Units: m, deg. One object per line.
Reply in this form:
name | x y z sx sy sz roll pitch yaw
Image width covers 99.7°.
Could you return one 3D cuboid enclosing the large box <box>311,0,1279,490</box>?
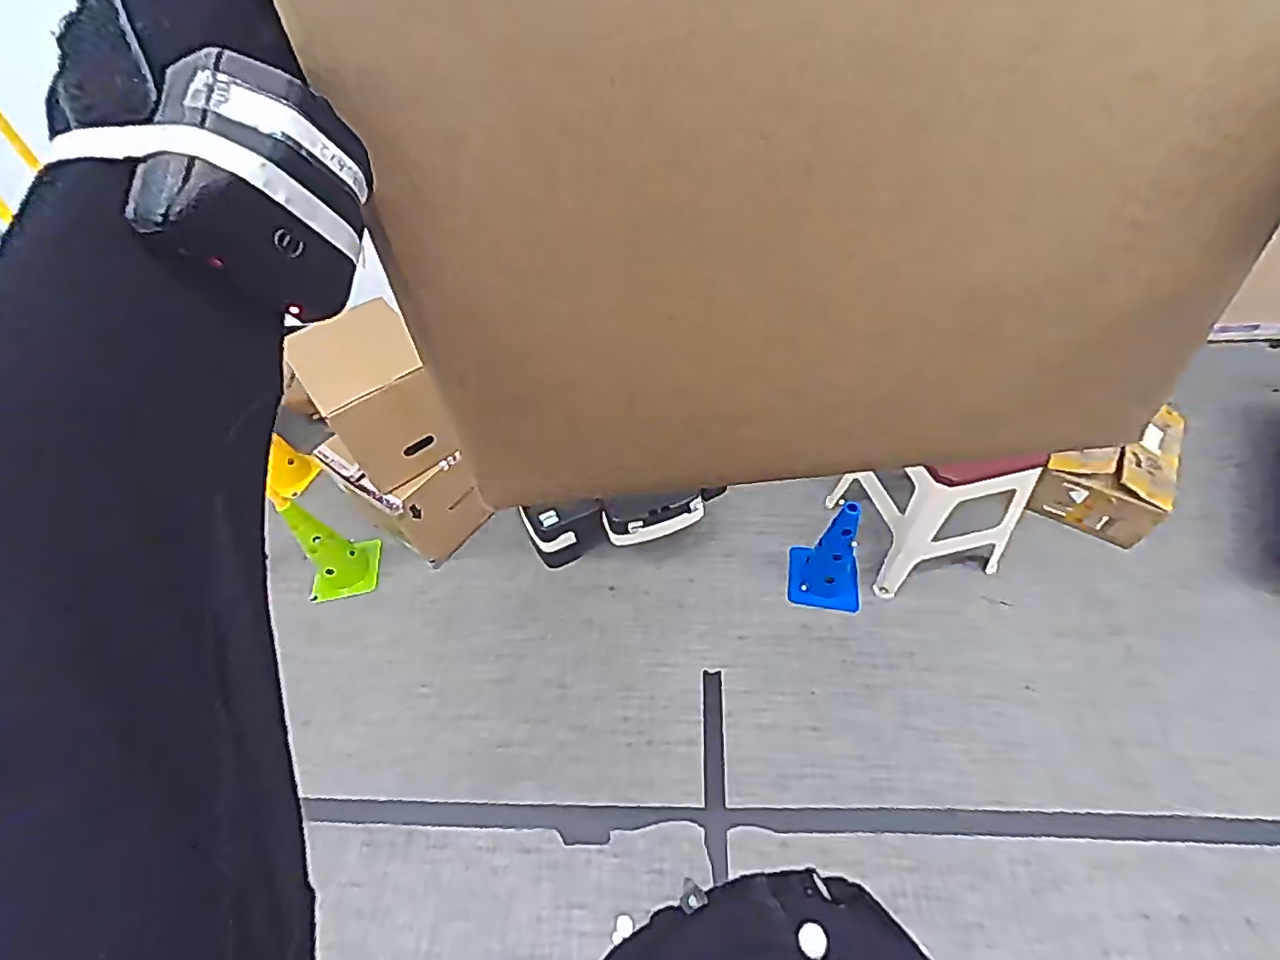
large box | 0.077 -0.219 0.350 0.408 0.320 0.320 -5 42 1
